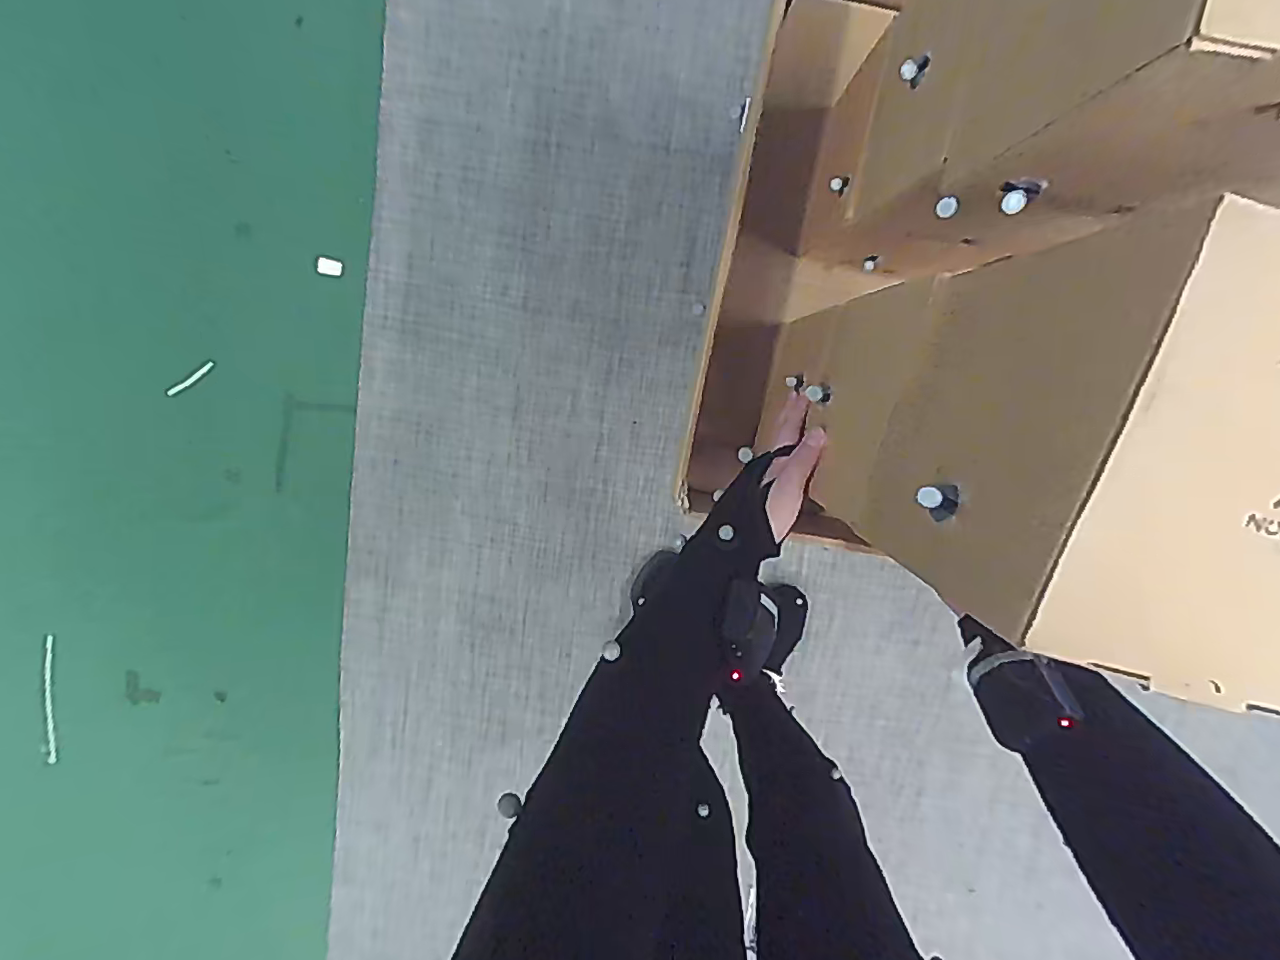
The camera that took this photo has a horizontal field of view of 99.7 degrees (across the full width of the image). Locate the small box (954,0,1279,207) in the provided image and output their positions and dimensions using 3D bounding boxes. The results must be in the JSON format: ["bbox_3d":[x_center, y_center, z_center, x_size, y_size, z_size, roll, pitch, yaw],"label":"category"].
[{"bbox_3d":[0.276,-0.239,0.241,0.168,0.176,0.179,8,101,-1],"label":"small box"}]

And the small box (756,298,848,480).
[{"bbox_3d":[0.239,-0.081,0.593,0.168,0.176,0.179,13,100,-2],"label":"small box"}]

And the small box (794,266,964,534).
[{"bbox_3d":[0.239,-0.049,0.433,0.168,0.176,0.179,14,102,-3],"label":"small box"}]

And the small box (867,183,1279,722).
[{"bbox_3d":[0.242,-0.010,0.274,0.168,0.176,0.179,15,100,-3],"label":"small box"}]

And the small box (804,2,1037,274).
[{"bbox_3d":[0.285,-0.328,0.558,0.168,0.176,0.179,10,102,-1],"label":"small box"}]
